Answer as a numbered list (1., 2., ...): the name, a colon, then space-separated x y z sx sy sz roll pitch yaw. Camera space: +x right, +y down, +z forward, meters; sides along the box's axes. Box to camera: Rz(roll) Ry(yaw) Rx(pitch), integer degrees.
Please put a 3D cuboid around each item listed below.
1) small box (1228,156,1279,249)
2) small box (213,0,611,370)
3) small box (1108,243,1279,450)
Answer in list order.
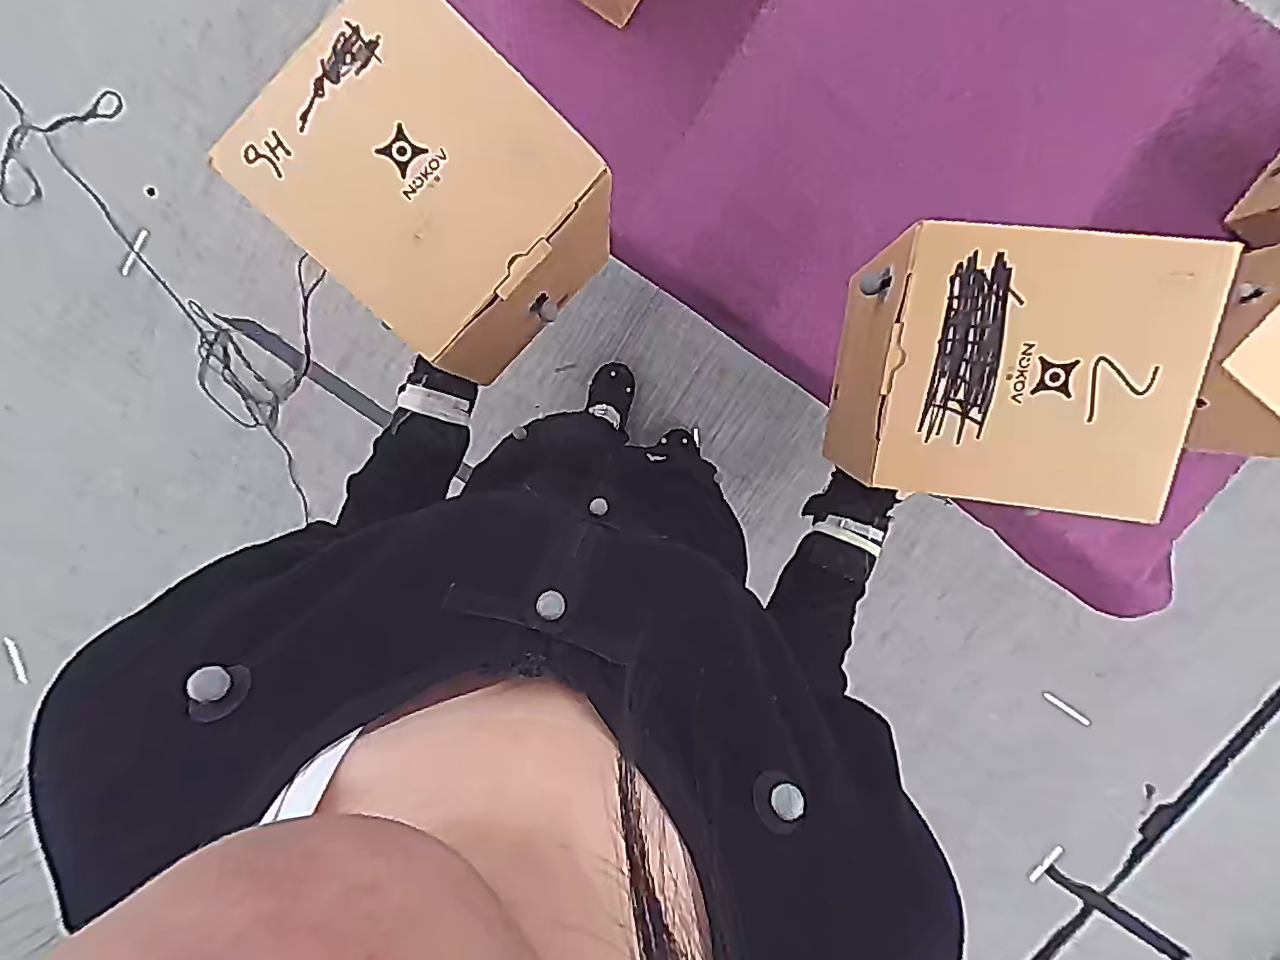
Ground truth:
1. small box: 0.829 -0.327 0.585 0.179 0.176 0.168 35 99 -3
2. small box: -0.139 -0.198 0.403 0.179 0.176 0.168 43 91 -8
3. small box: 0.706 -0.145 0.624 0.168 0.176 0.179 39 97 -2
